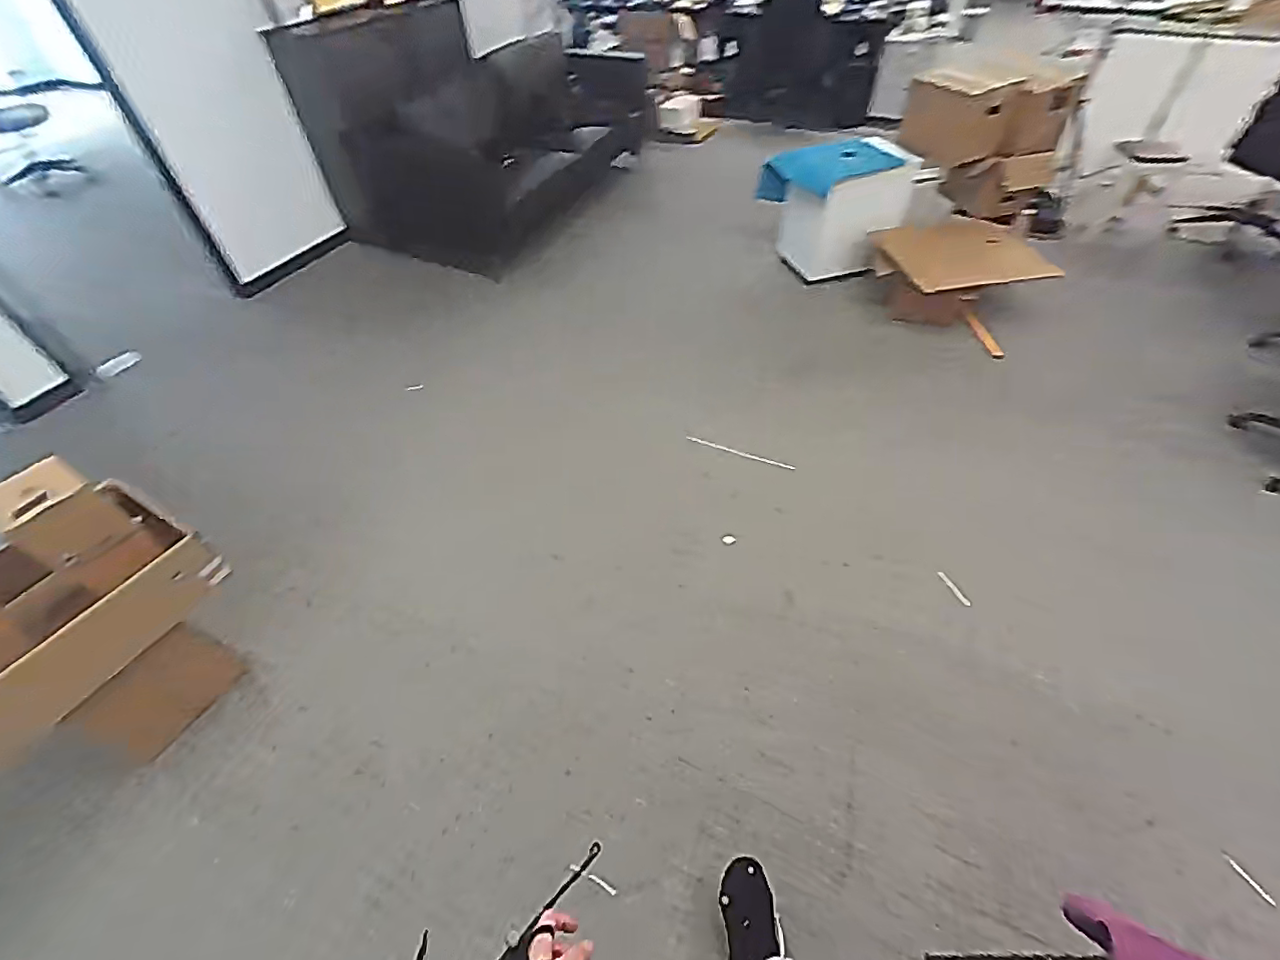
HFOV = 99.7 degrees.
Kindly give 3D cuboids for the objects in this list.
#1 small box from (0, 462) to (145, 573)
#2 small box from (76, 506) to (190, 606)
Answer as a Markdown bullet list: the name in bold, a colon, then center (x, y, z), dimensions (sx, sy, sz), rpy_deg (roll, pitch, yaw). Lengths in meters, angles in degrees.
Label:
- **small box**: center (-1.337, 0.093, 1.274), dimensions (0.179, 0.176, 0.168), rpy_deg (24, 53, 22)
- **small box**: center (-1.337, 0.198, 1.401), dimensions (0.179, 0.176, 0.168), rpy_deg (24, 53, 21)
